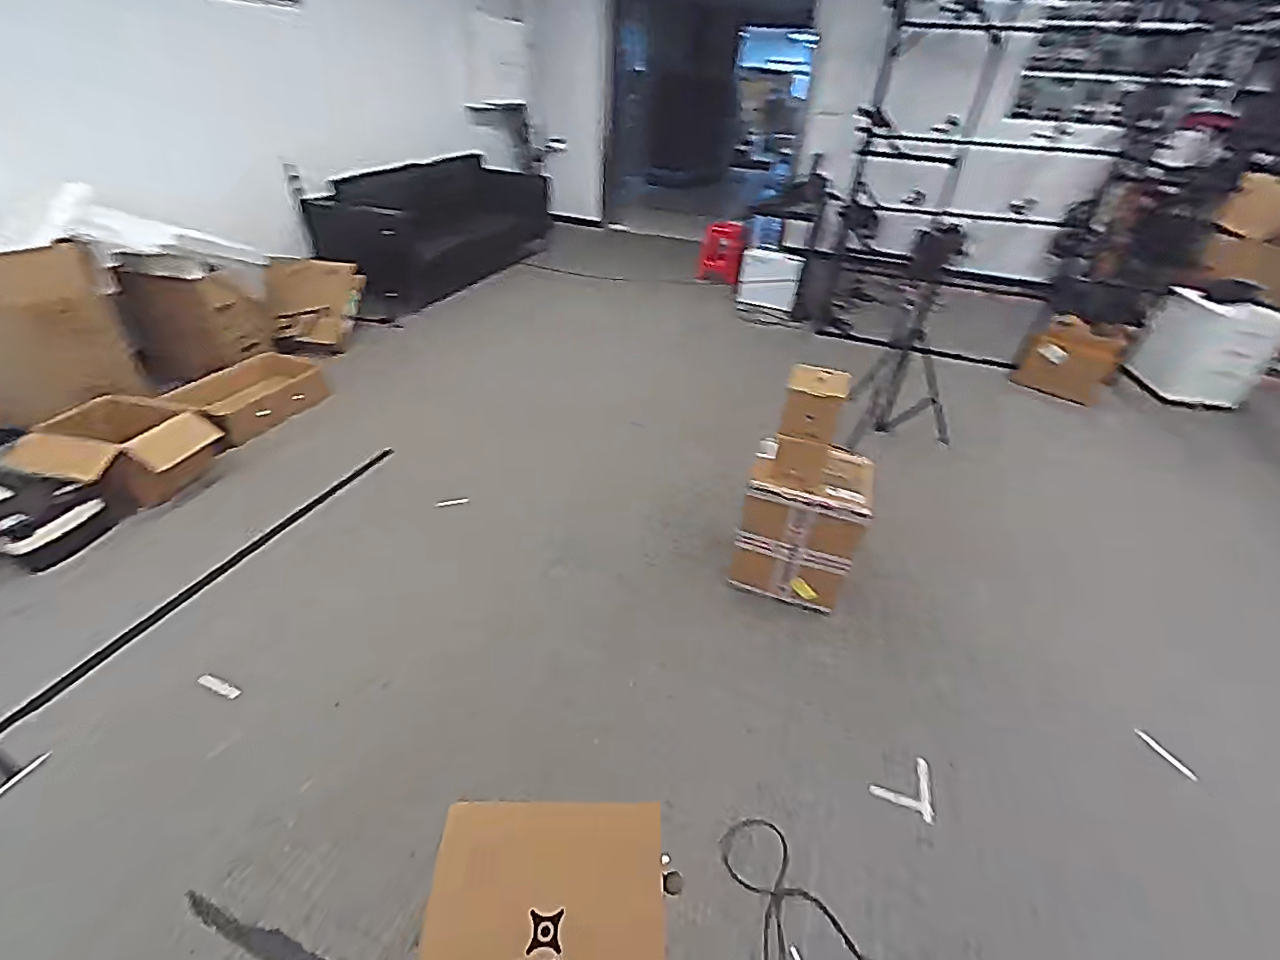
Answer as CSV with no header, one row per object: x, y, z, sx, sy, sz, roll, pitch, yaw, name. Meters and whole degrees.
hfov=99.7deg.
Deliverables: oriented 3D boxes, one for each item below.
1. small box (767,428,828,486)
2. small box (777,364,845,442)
0.526,-0.108,1.802,0.168,0.176,0.179,13,41,14,small box
0.538,-0.243,1.708,0.168,0.176,0.179,14,41,15,small box
